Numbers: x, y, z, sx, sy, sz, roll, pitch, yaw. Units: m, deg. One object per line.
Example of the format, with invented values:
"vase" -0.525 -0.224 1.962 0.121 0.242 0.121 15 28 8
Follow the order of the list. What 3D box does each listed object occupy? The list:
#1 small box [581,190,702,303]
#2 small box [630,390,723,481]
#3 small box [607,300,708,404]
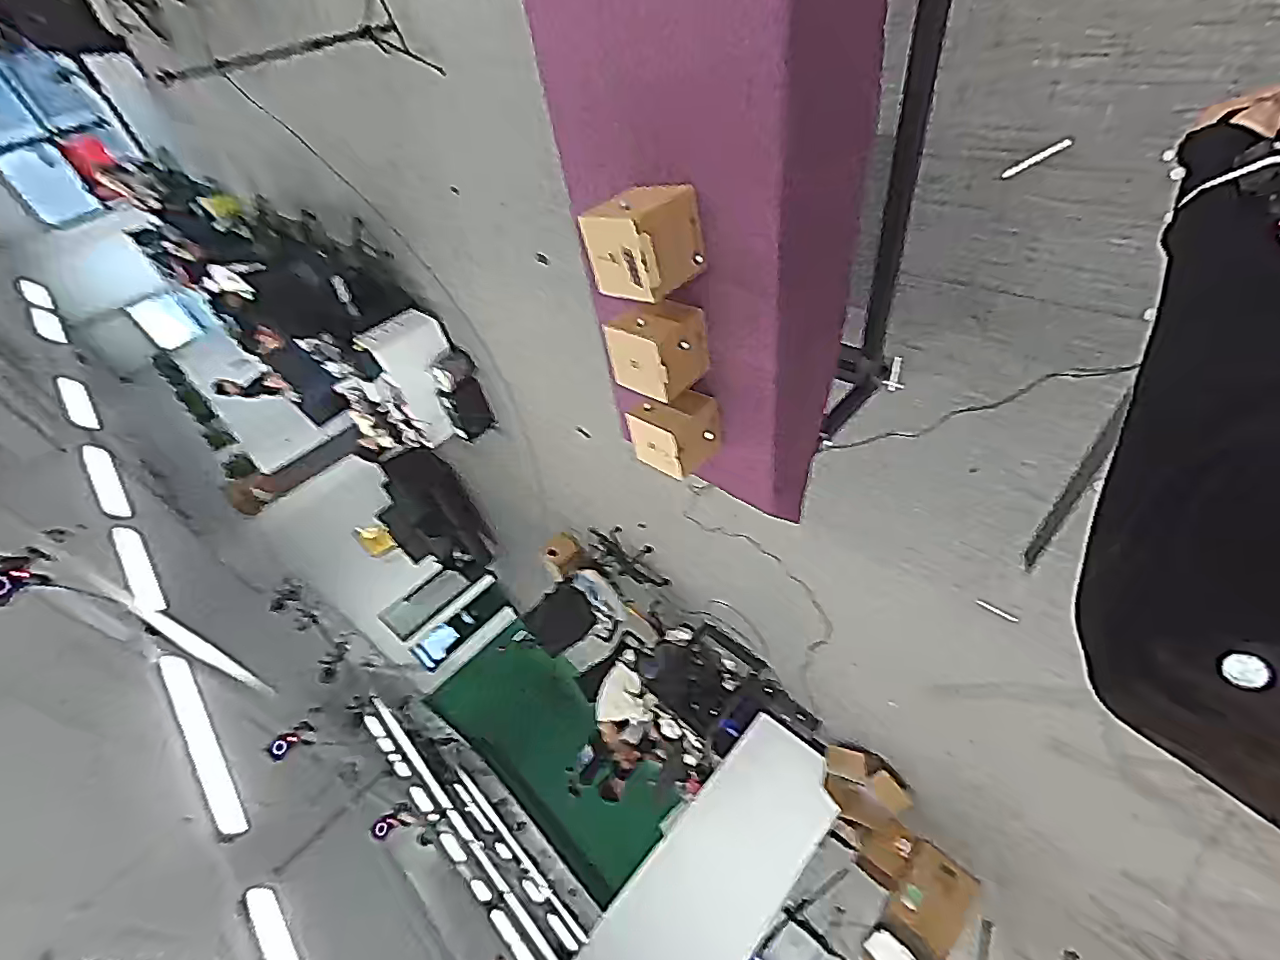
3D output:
"small box" 0.013 -0.490 1.128 0.179 0.176 0.168 26 146 42
"small box" 0.102 -0.132 1.471 0.179 0.176 0.168 28 147 38
"small box" 0.051 -0.316 1.308 0.179 0.176 0.168 29 147 37
